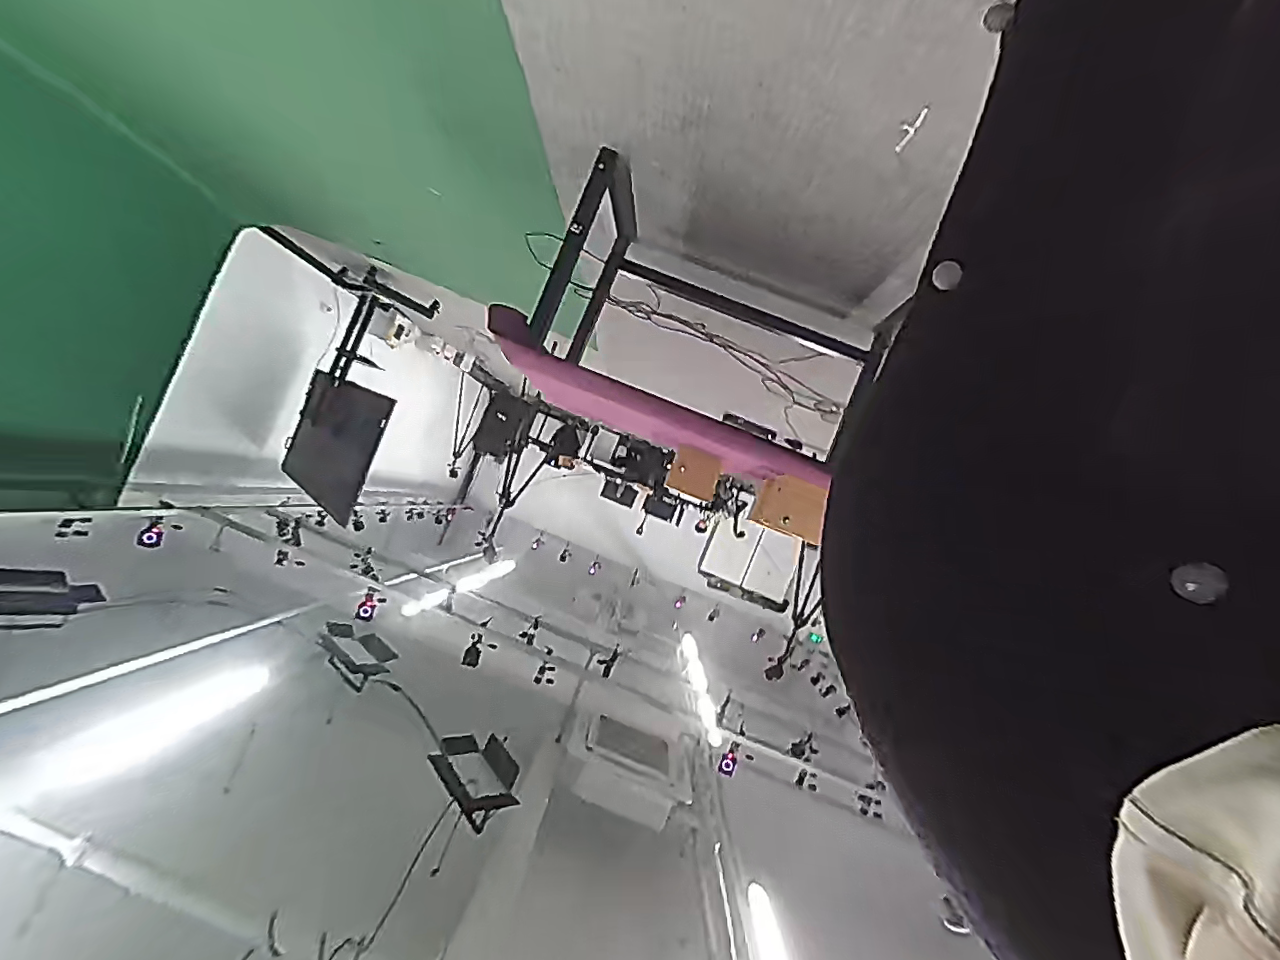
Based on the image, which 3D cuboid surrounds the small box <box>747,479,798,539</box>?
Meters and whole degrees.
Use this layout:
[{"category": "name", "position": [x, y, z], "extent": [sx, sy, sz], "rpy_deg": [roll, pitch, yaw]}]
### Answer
[{"category": "small box", "position": [0.513, 0.105, 1.989], "extent": [0.179, 0.176, 0.168], "rpy_deg": [23, 178, 6]}]

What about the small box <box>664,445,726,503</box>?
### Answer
[{"category": "small box", "position": [0.202, -0.025, 2.007], "extent": [0.179, 0.176, 0.168], "rpy_deg": [22, 179, 4]}]

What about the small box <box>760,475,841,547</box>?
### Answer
[{"category": "small box", "position": [0.504, 0.093, 1.699], "extent": [0.179, 0.176, 0.168], "rpy_deg": [23, 180, 2]}]
